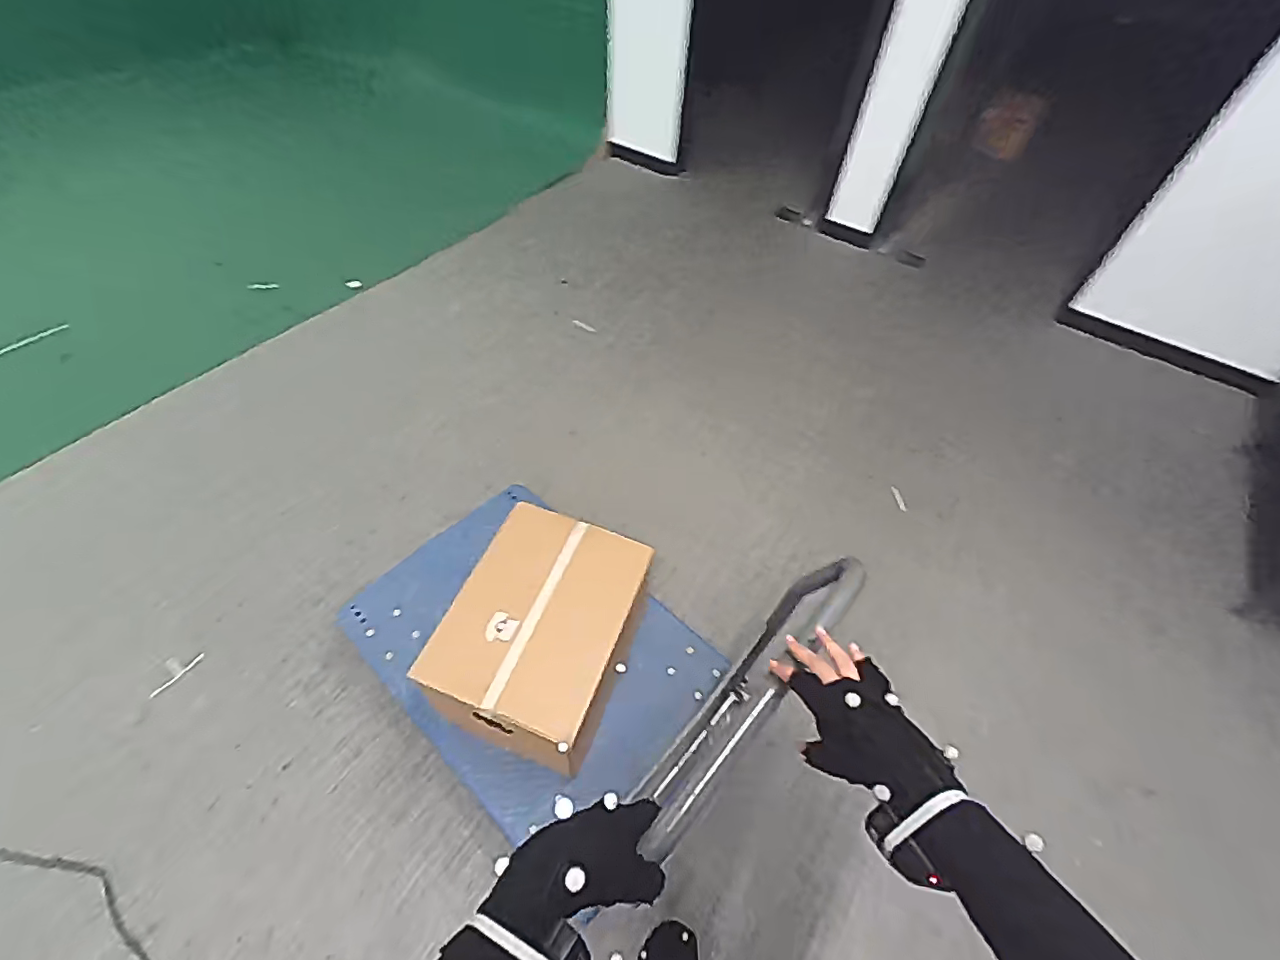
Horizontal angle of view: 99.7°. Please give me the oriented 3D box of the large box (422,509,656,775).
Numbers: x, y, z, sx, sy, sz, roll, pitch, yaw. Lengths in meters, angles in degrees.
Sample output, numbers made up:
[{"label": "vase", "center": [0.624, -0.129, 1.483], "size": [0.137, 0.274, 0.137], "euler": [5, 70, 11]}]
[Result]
[{"label": "large box", "center": [-0.183, 0.340, 1.149], "size": [0.320, 0.320, 0.408], "euler": [18, 54, 10]}]
